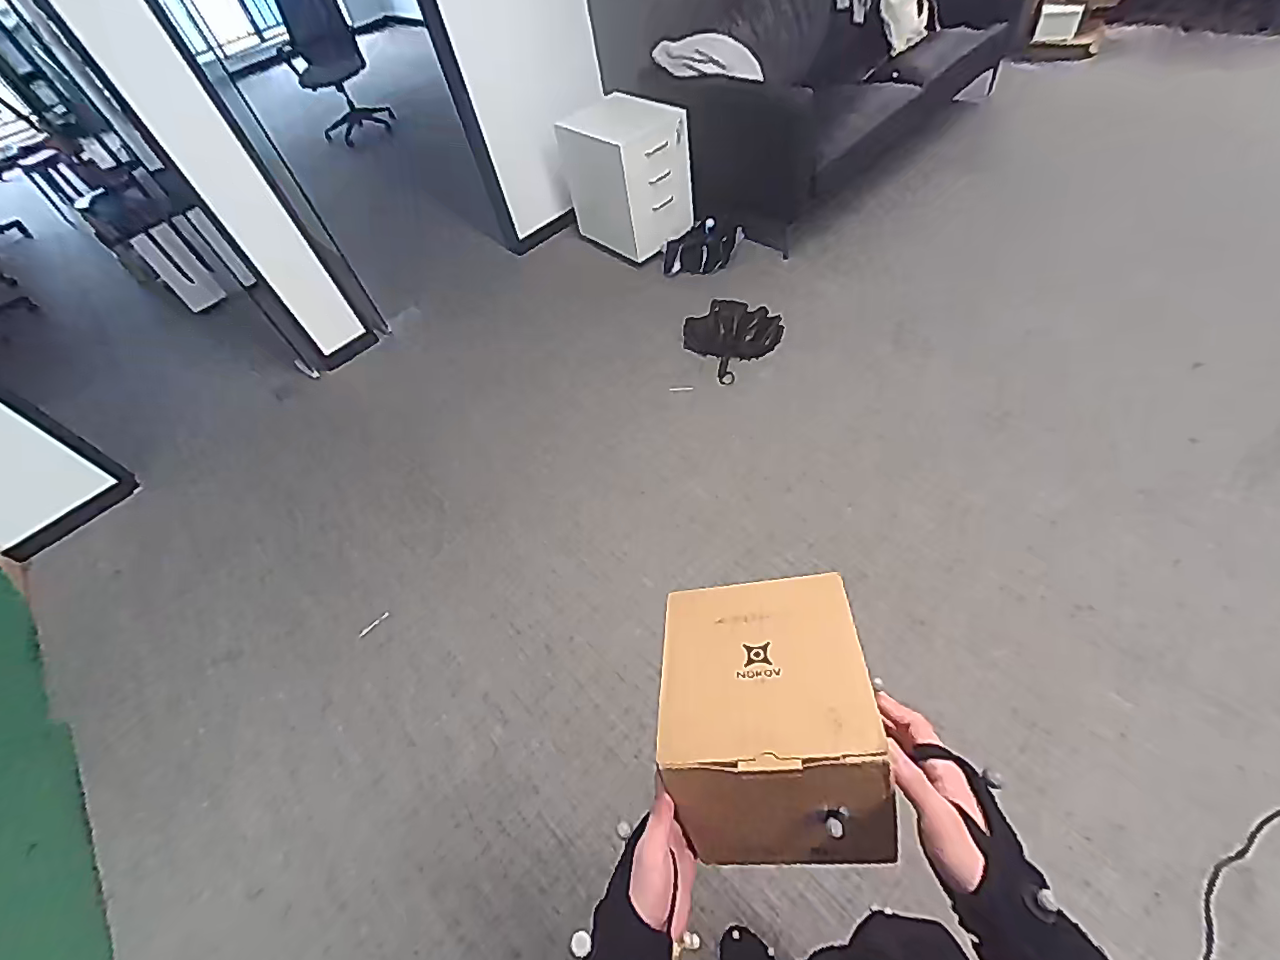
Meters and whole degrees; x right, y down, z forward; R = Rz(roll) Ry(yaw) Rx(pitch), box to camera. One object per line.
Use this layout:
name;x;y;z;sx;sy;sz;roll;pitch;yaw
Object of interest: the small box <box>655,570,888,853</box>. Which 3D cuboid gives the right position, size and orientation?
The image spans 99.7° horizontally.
small box;0.118;0.210;0.490;0.168;0.176;0.179;-9;33;12
